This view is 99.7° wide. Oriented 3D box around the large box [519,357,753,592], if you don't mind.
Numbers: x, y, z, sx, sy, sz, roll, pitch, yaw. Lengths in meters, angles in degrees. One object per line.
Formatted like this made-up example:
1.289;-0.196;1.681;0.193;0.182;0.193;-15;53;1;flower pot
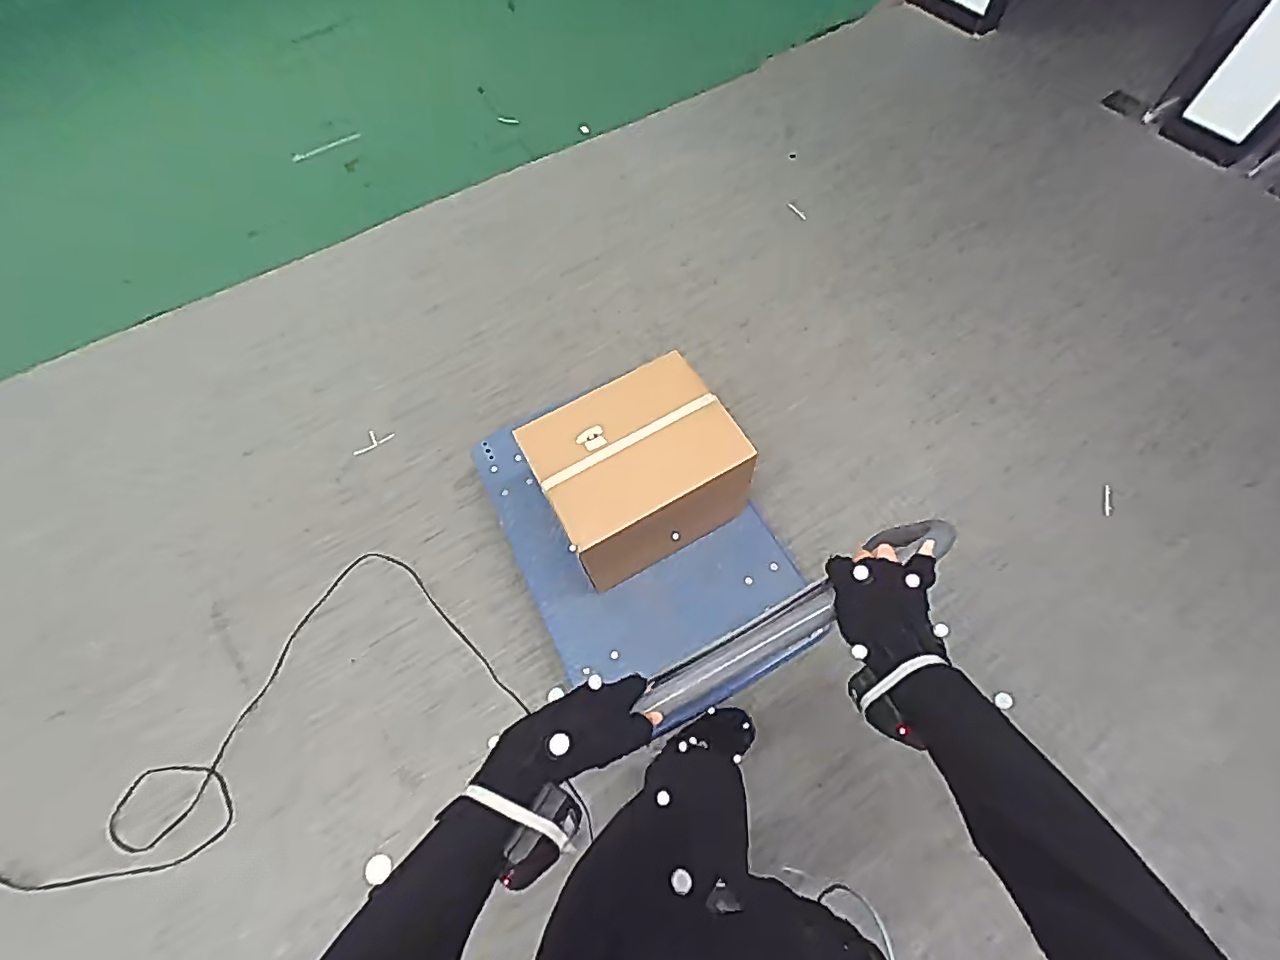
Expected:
-0.001;-0.001;1.248;0.408;0.320;0.320;-30;65;-9;large box
